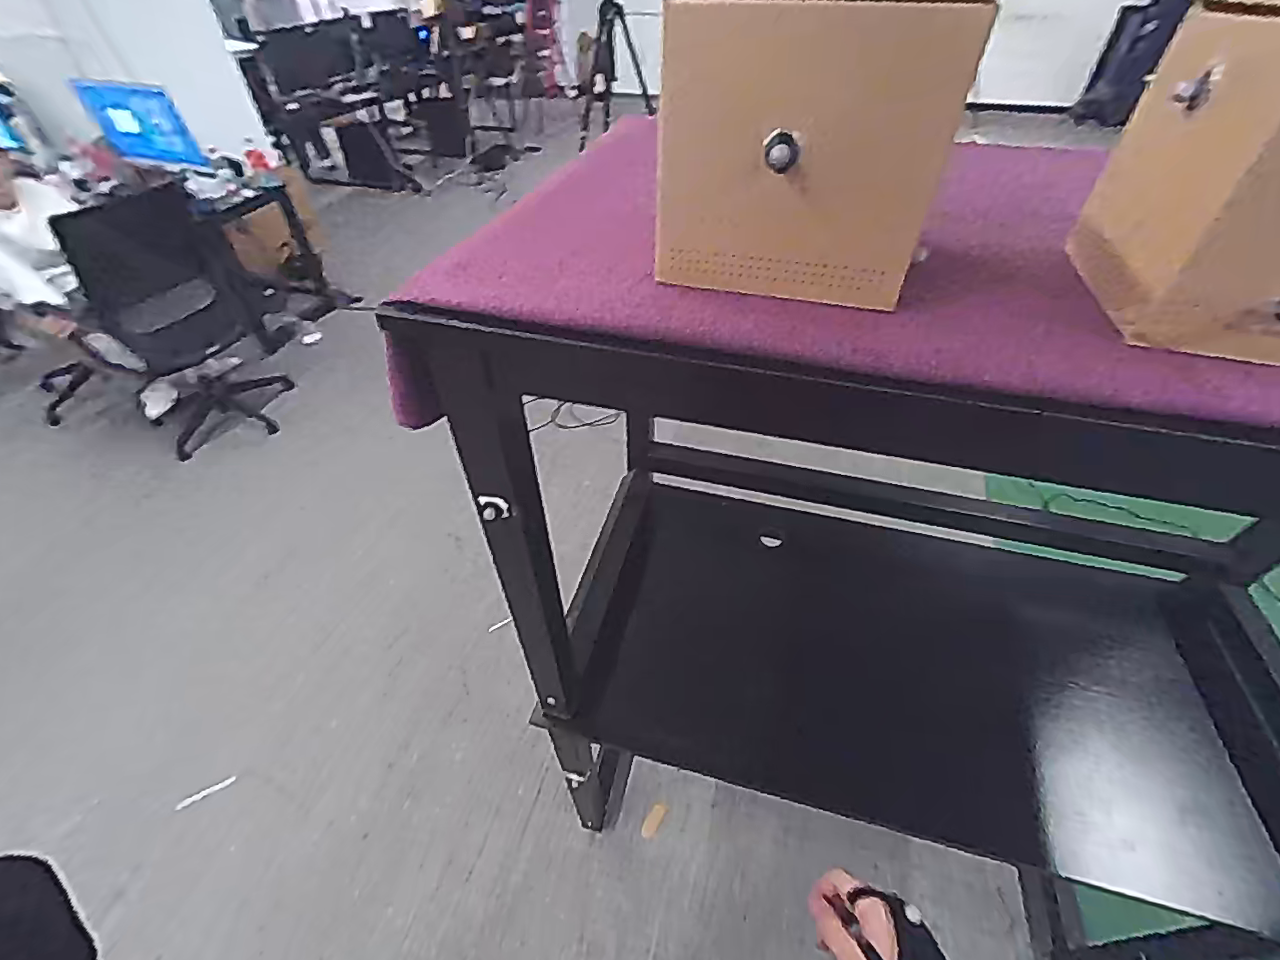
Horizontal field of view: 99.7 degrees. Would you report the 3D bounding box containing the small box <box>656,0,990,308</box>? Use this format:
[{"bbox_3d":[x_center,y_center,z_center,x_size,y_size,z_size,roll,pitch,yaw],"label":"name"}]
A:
[{"bbox_3d":[0.116,-0.243,0.397,0.179,0.176,0.168,10,44,12],"label":"small box"}]
